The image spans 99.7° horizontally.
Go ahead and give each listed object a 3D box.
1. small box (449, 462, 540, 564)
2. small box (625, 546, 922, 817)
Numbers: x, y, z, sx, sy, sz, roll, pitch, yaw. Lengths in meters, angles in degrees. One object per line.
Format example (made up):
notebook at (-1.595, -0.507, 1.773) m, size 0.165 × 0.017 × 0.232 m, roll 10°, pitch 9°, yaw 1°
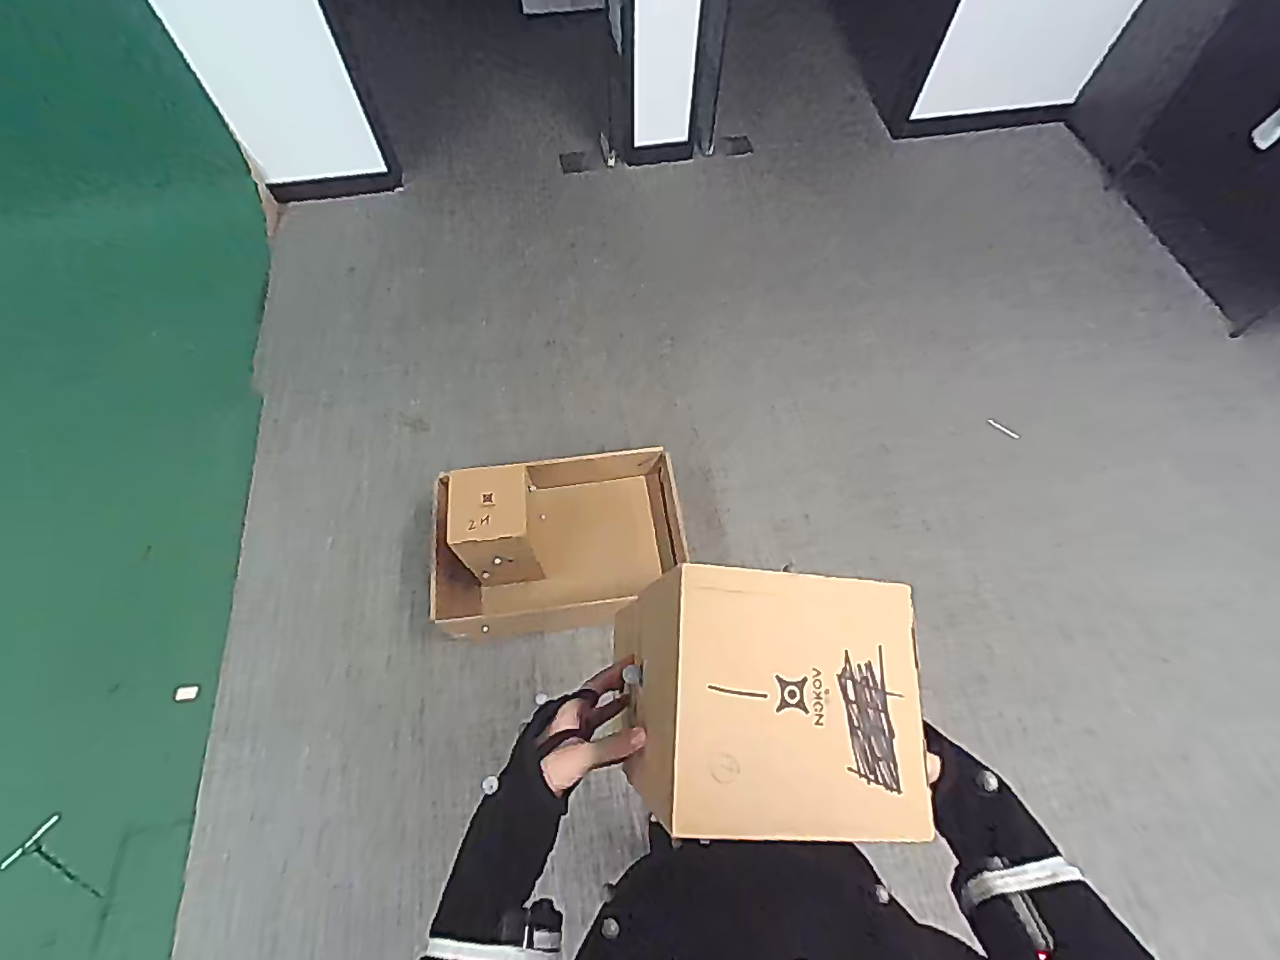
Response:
small box at (-0.324, 0.078, 1.234) m, size 0.168 × 0.176 × 0.179 m, roll -5°, pitch 64°, yaw -3°
small box at (0.089, 0.156, 0.438) m, size 0.179 × 0.176 × 0.168 m, roll 6°, pitch 70°, yaw -7°
